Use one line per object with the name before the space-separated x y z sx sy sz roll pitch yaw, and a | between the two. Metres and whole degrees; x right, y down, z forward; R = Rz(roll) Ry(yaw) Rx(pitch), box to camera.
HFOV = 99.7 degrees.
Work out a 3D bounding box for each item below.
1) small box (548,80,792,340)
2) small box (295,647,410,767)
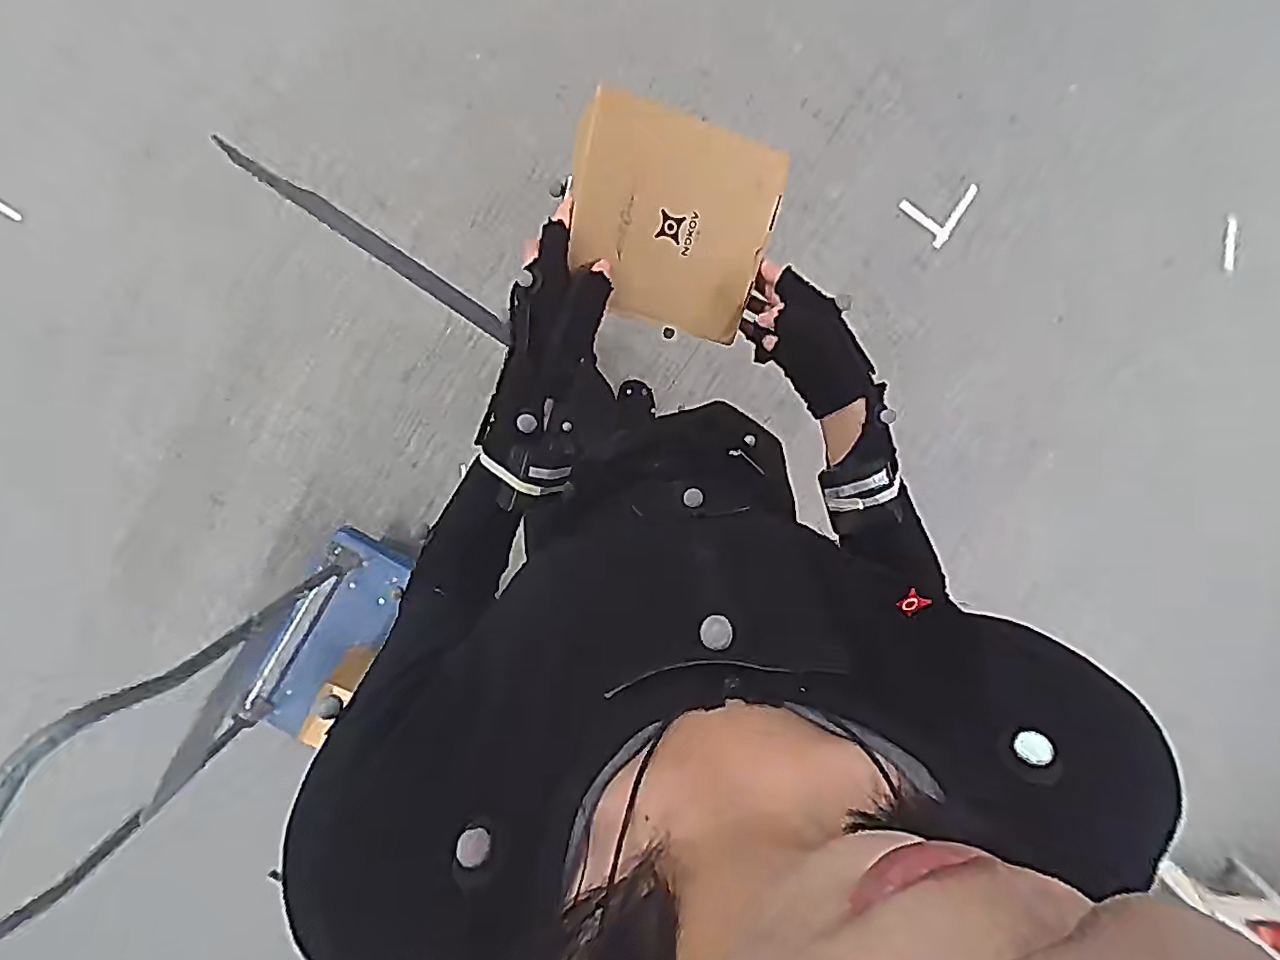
small box | 0.013 -0.252 0.539 0.179 0.176 0.168 11 109 -17
small box | -0.691 0.547 1.322 0.168 0.176 0.179 28 100 -10
